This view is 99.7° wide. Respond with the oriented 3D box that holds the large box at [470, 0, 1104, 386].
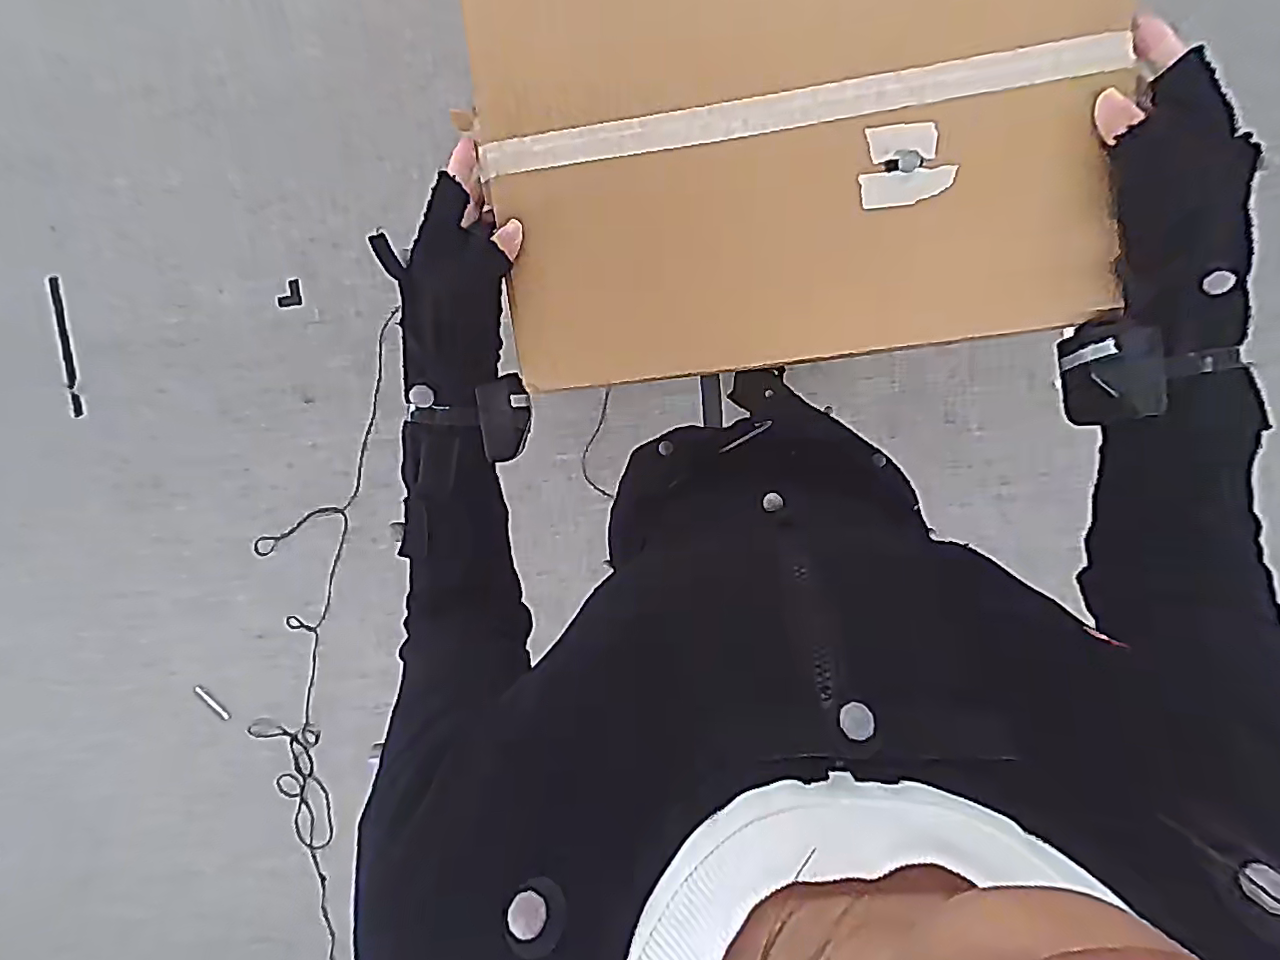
[{"bbox_3d":[0.104,-0.272,0.507,0.408,0.320,0.320,-7,101,4],"label":"large box"}]
